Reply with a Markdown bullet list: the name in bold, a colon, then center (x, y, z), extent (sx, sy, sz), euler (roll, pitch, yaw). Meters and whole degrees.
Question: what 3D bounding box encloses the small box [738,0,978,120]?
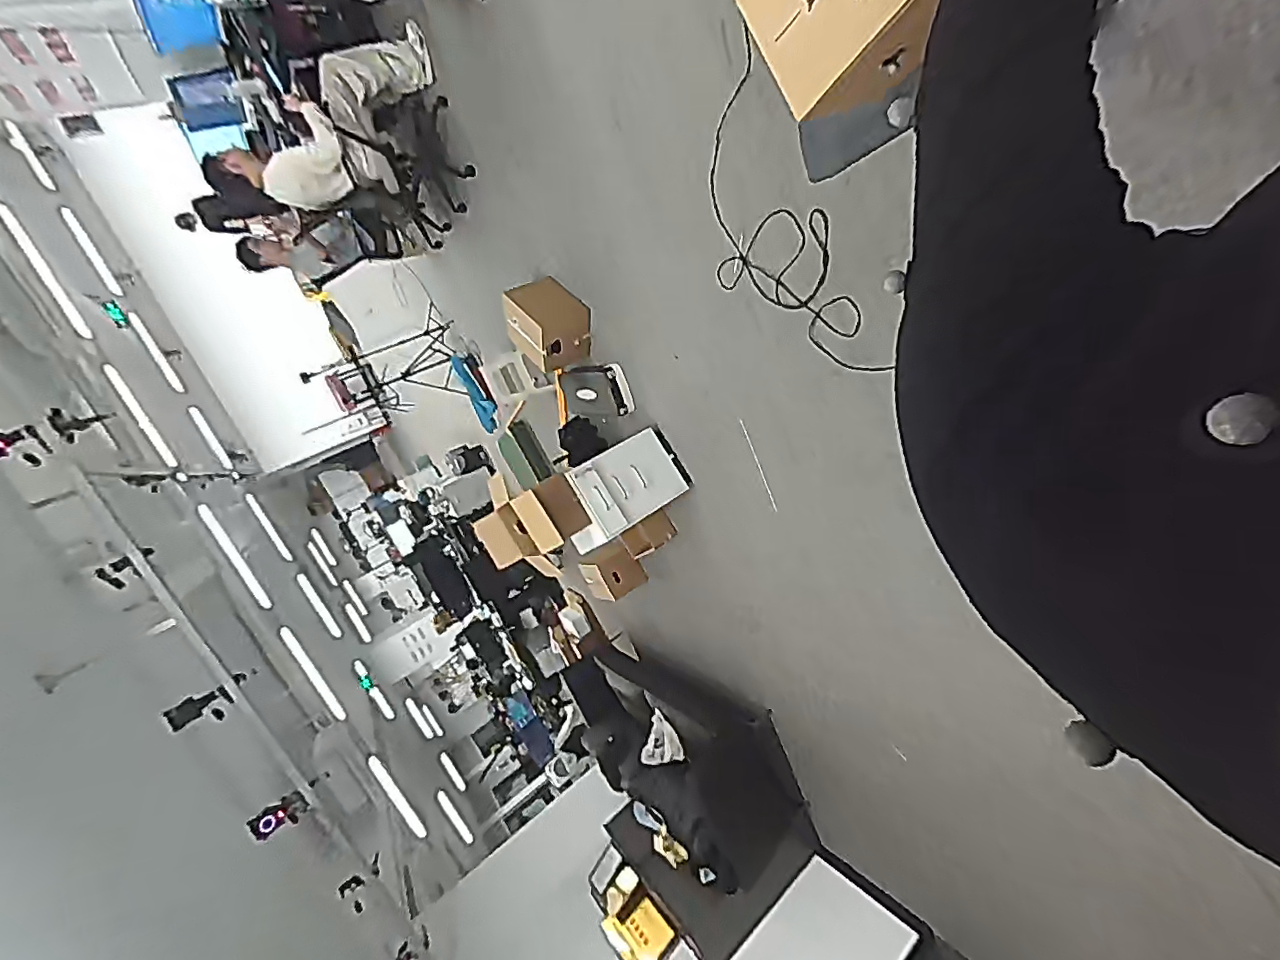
- **small box**: center (0.242, -0.537, 0.576), extent (0.168, 0.176, 0.179), euler (60, 155, -5)
